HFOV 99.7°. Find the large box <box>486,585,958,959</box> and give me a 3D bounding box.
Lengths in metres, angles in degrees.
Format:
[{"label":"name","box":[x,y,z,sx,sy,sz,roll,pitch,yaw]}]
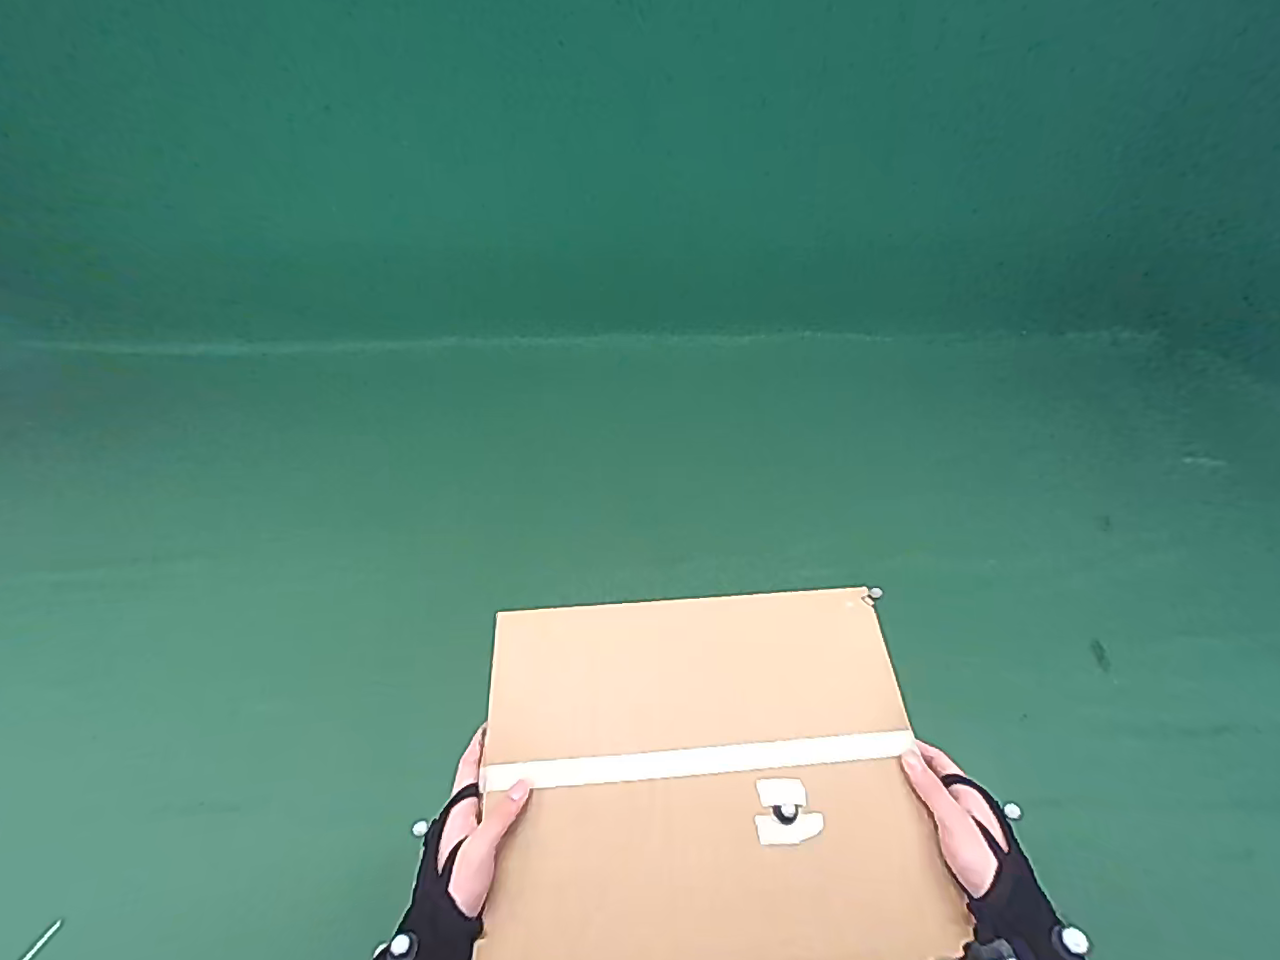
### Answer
[{"label":"large box","box":[0.056,0.342,0.645,0.408,0.320,0.320,-3,58,-3]}]
